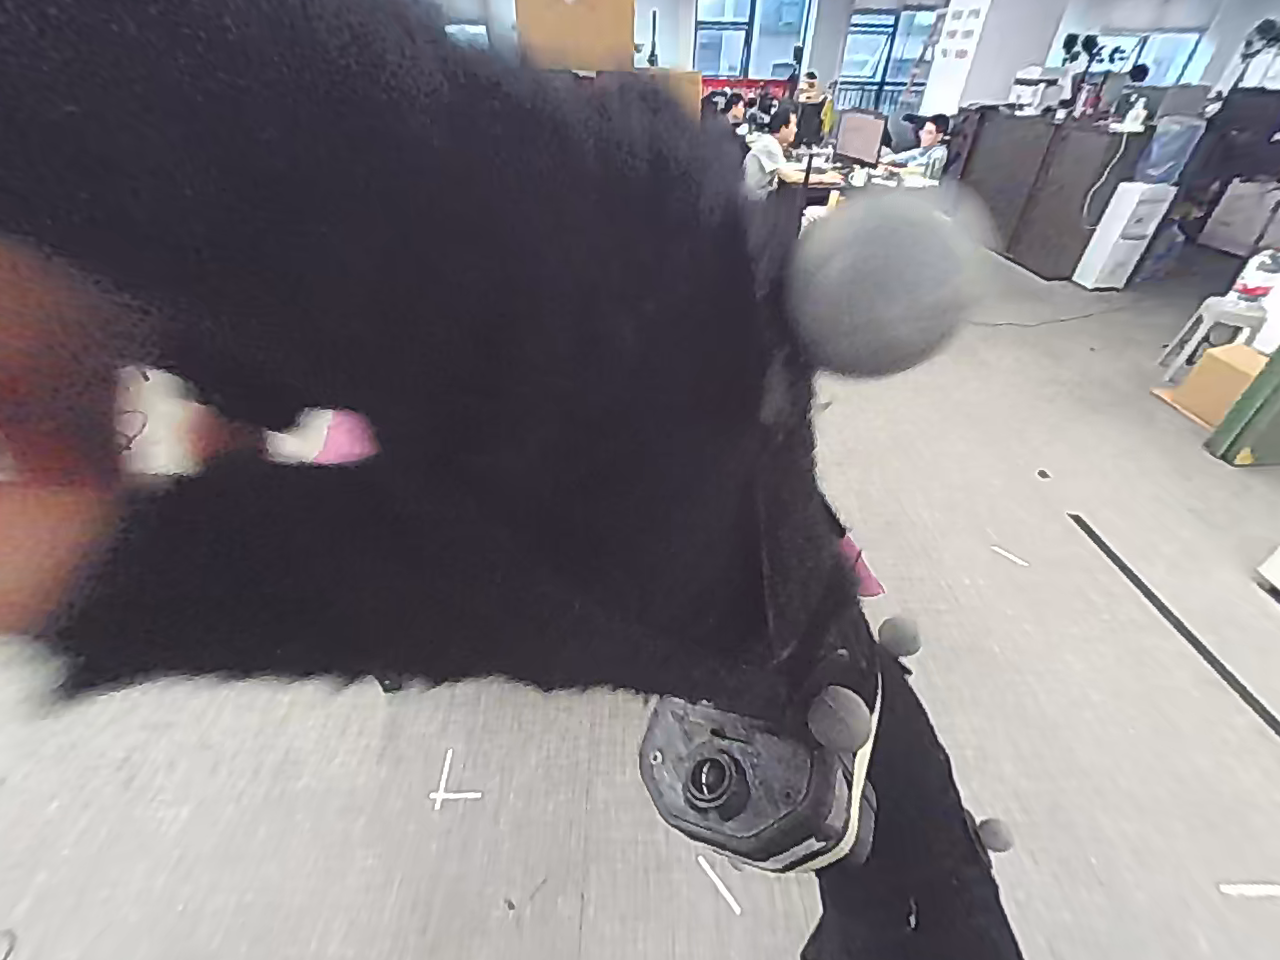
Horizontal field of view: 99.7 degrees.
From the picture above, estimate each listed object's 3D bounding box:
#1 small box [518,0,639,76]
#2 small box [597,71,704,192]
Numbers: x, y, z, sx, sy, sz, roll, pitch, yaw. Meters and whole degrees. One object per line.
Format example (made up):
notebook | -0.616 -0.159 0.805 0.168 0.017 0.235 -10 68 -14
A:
small box | -0.091 -0.732 0.836 0.179 0.176 0.168 -1 39 -3
small box | 0.012 -0.616 0.957 0.168 0.176 0.179 -3 38 -6
